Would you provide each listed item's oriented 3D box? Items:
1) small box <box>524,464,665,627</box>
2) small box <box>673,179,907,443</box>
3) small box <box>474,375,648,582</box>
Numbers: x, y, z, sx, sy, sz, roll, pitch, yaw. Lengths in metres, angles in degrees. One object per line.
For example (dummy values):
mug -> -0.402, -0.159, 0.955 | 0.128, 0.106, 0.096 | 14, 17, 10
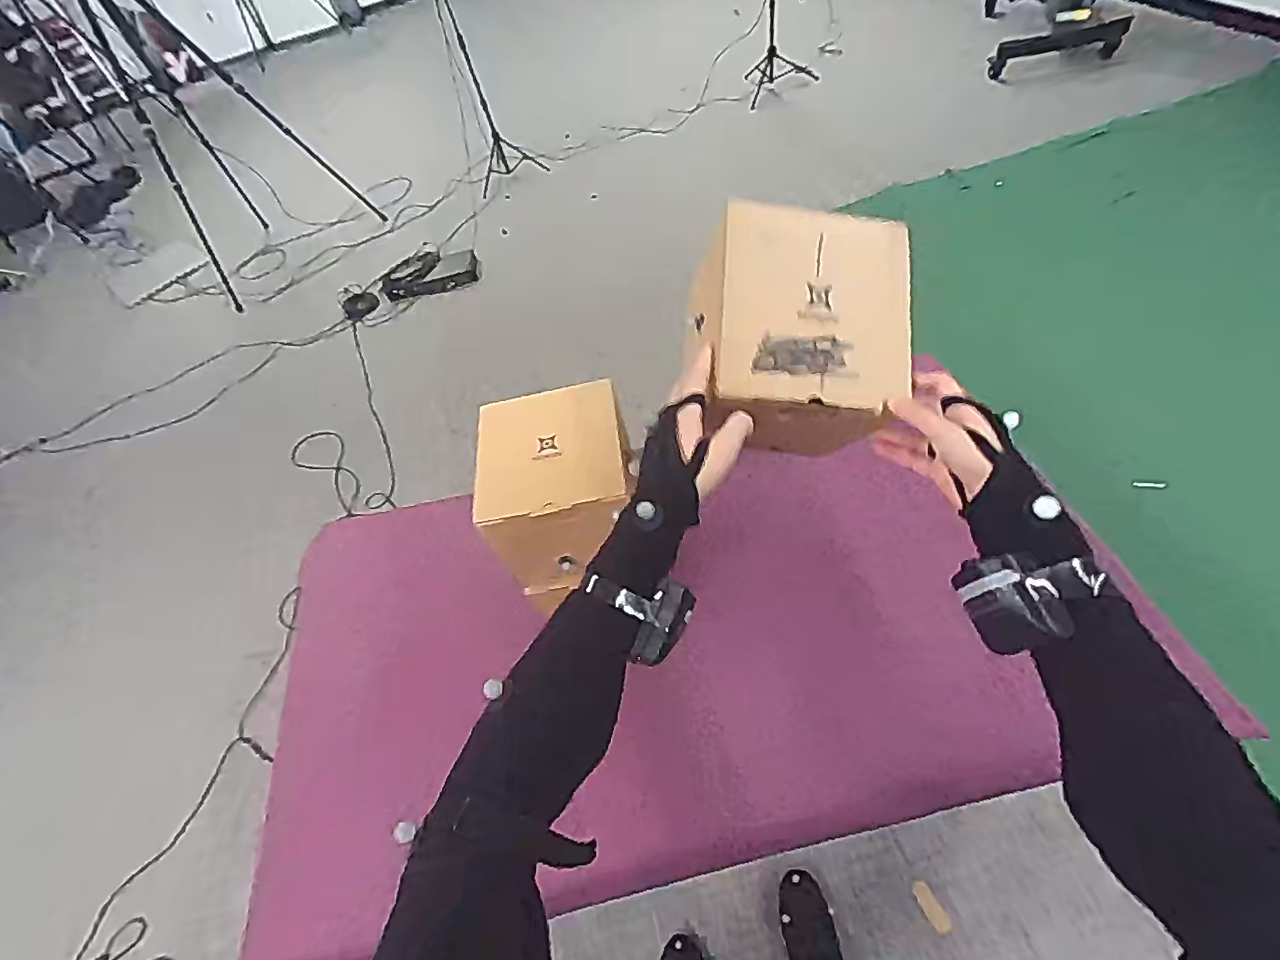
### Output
small box -> -0.060, 0.104, 0.790 | 0.168, 0.176, 0.179 | -9, 53, 6
small box -> 0.128, -0.141, 0.514 | 0.168, 0.176, 0.179 | 6, 80, -5
small box -> -0.089, 0.003, 0.666 | 0.168, 0.176, 0.179 | -11, 55, 3
